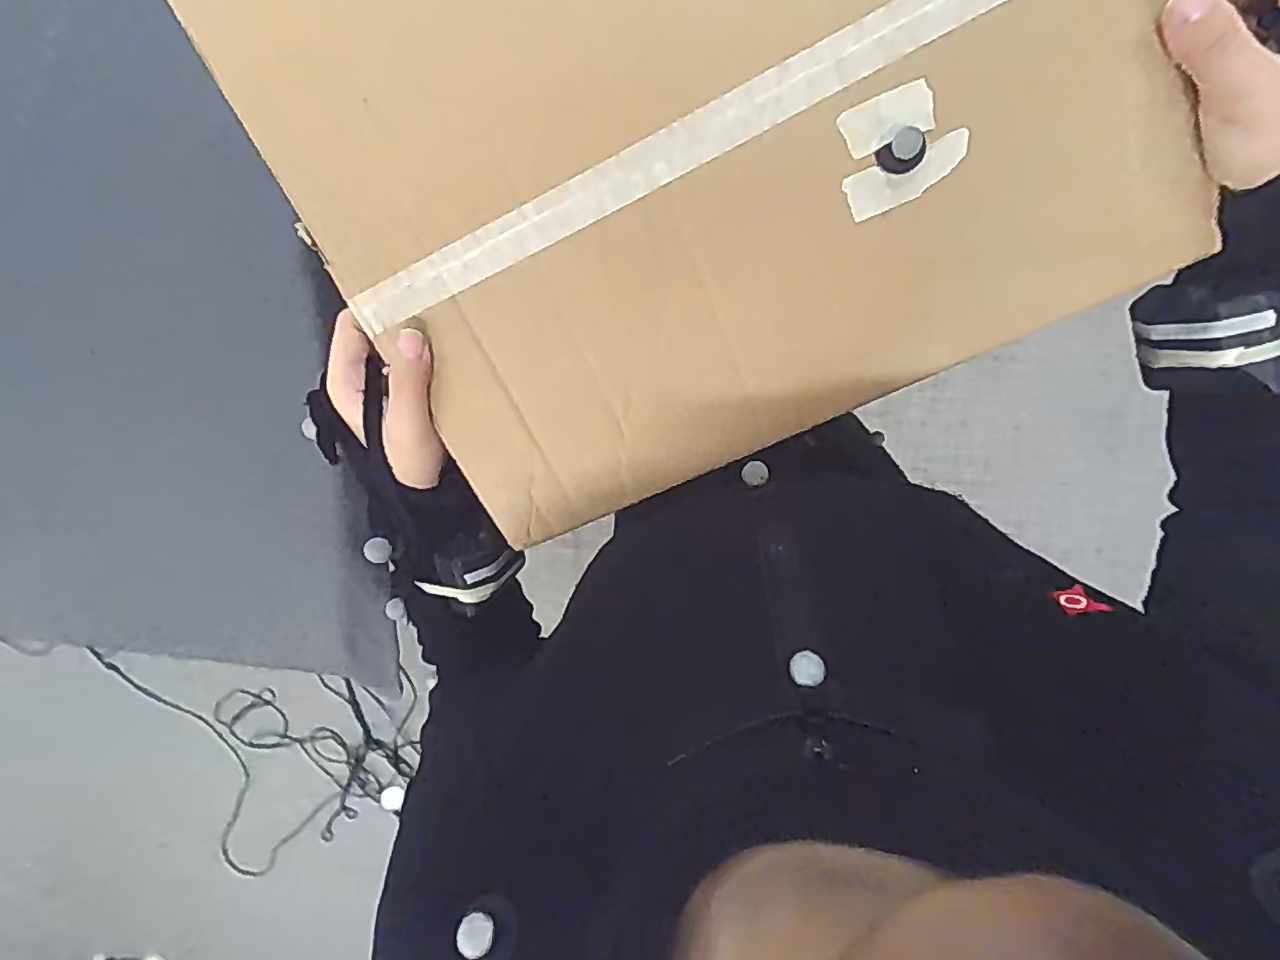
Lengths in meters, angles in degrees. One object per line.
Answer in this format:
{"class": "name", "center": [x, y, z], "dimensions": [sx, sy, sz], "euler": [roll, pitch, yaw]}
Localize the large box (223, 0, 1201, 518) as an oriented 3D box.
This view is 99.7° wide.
{"class": "large box", "center": [0.045, -0.233, 0.398], "dimensions": [0.408, 0.320, 0.320], "euler": [-24, 110, 8]}
